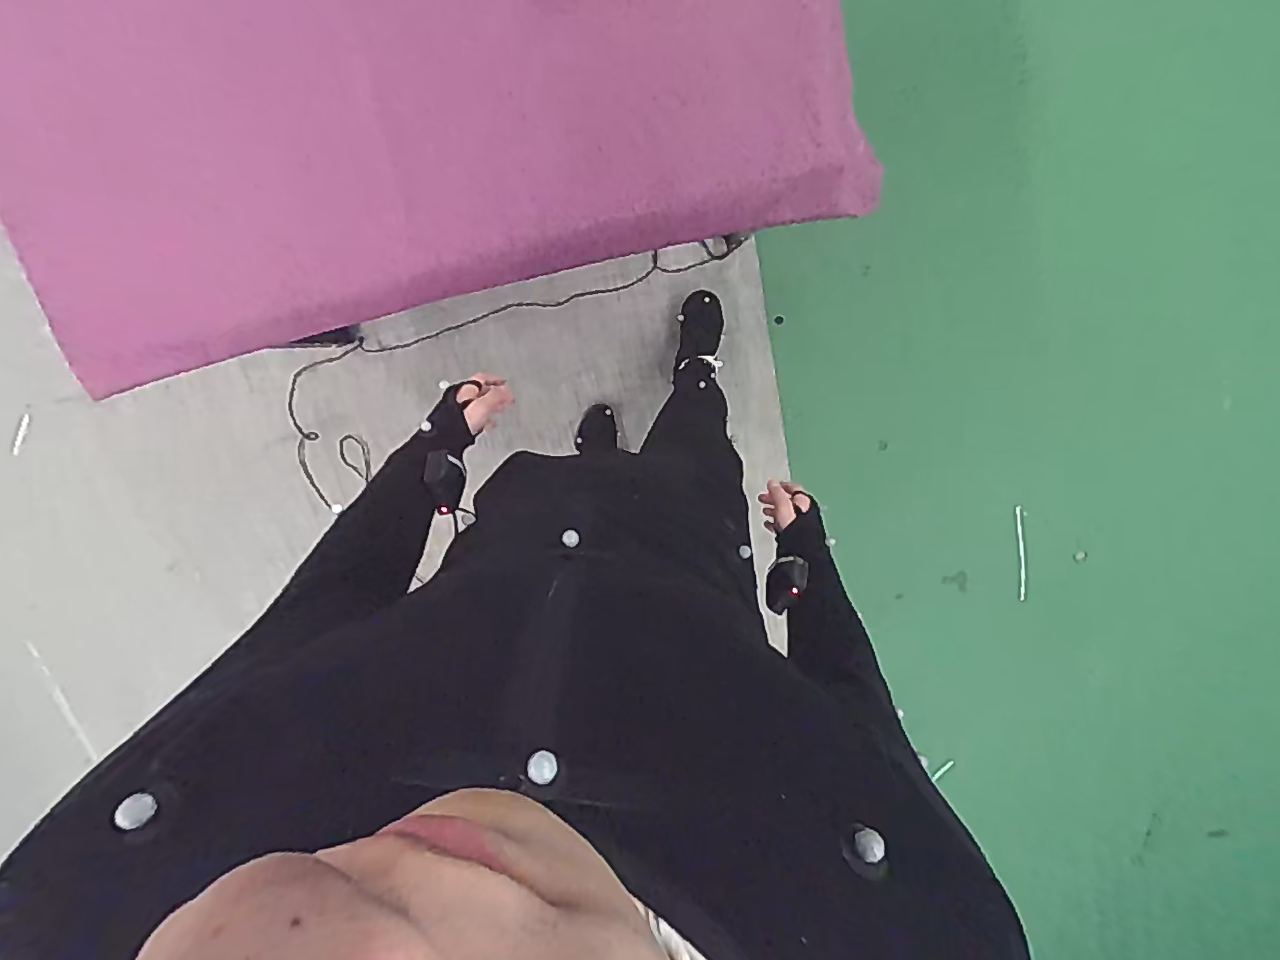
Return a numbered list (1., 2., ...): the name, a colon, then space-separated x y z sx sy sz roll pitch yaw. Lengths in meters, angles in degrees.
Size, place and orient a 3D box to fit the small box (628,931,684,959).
1. small box: 0.059 1.601 1.728 0.168 0.176 0.179 -13 104 2
